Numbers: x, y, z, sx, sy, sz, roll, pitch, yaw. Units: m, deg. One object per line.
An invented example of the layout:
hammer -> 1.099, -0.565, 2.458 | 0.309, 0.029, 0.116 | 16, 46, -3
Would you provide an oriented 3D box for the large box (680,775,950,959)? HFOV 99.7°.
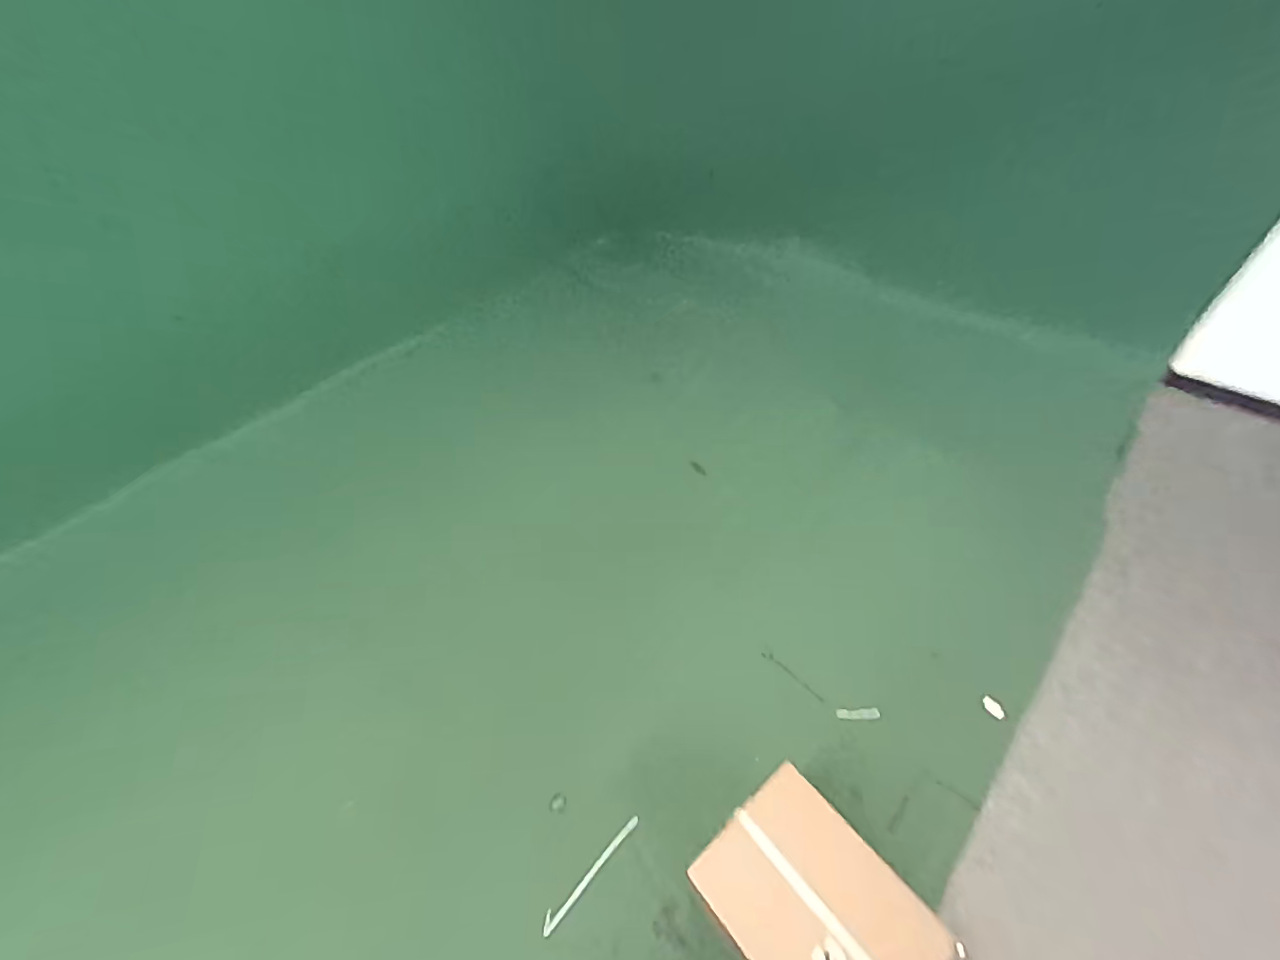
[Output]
large box -> 0.331, 0.928, 1.138 | 0.320, 0.320, 0.408 | -34, 55, -24
